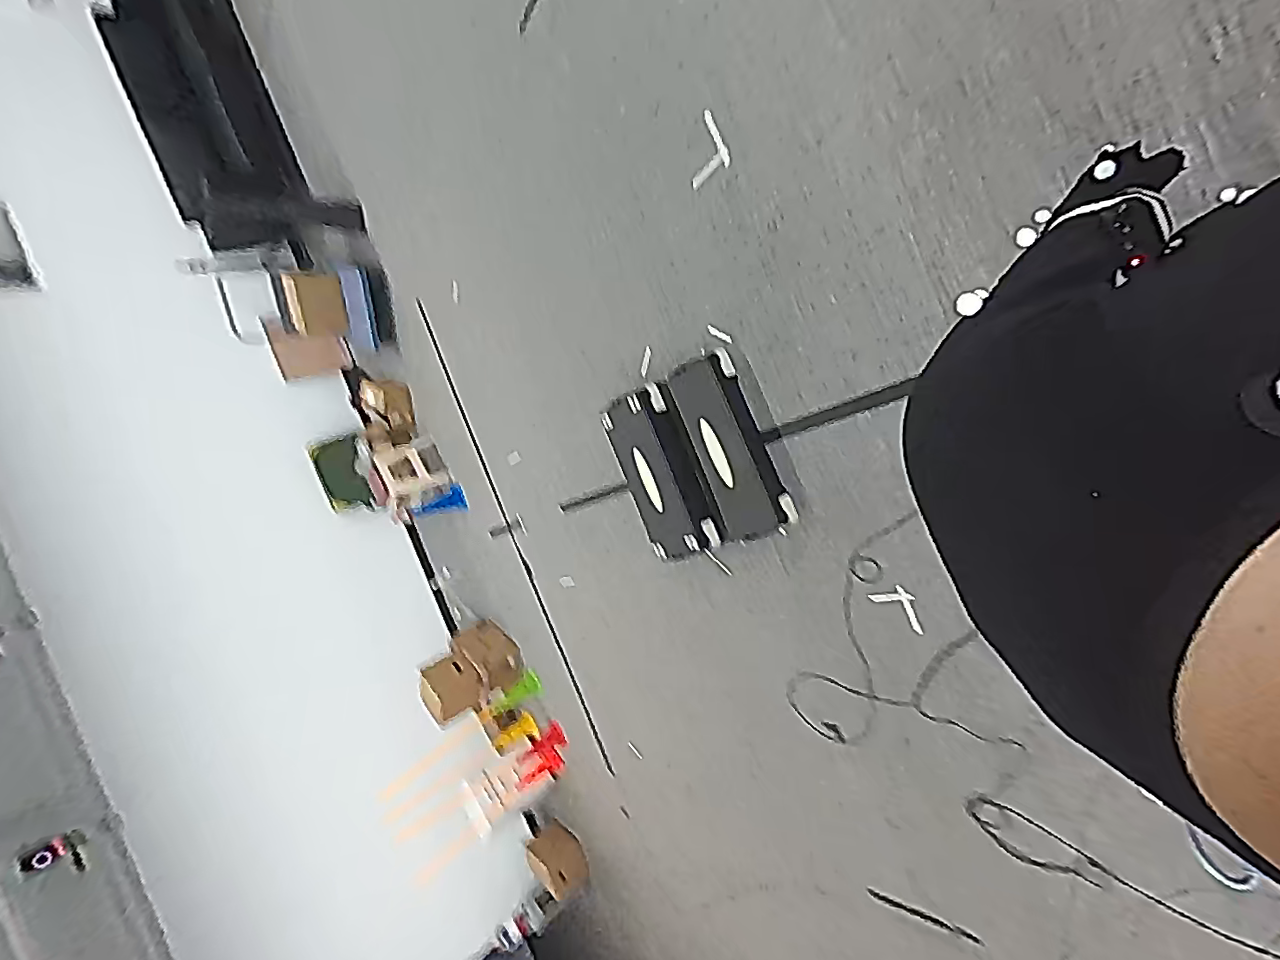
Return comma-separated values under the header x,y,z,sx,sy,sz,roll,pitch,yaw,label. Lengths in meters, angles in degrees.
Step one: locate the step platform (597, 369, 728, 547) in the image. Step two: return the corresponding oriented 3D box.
x,y,z,sx,sy,sz,roll,pitch,yaw,label
0.079,-0.074,2.133,0.286,0.204,0.684,-23,89,51,step platform
